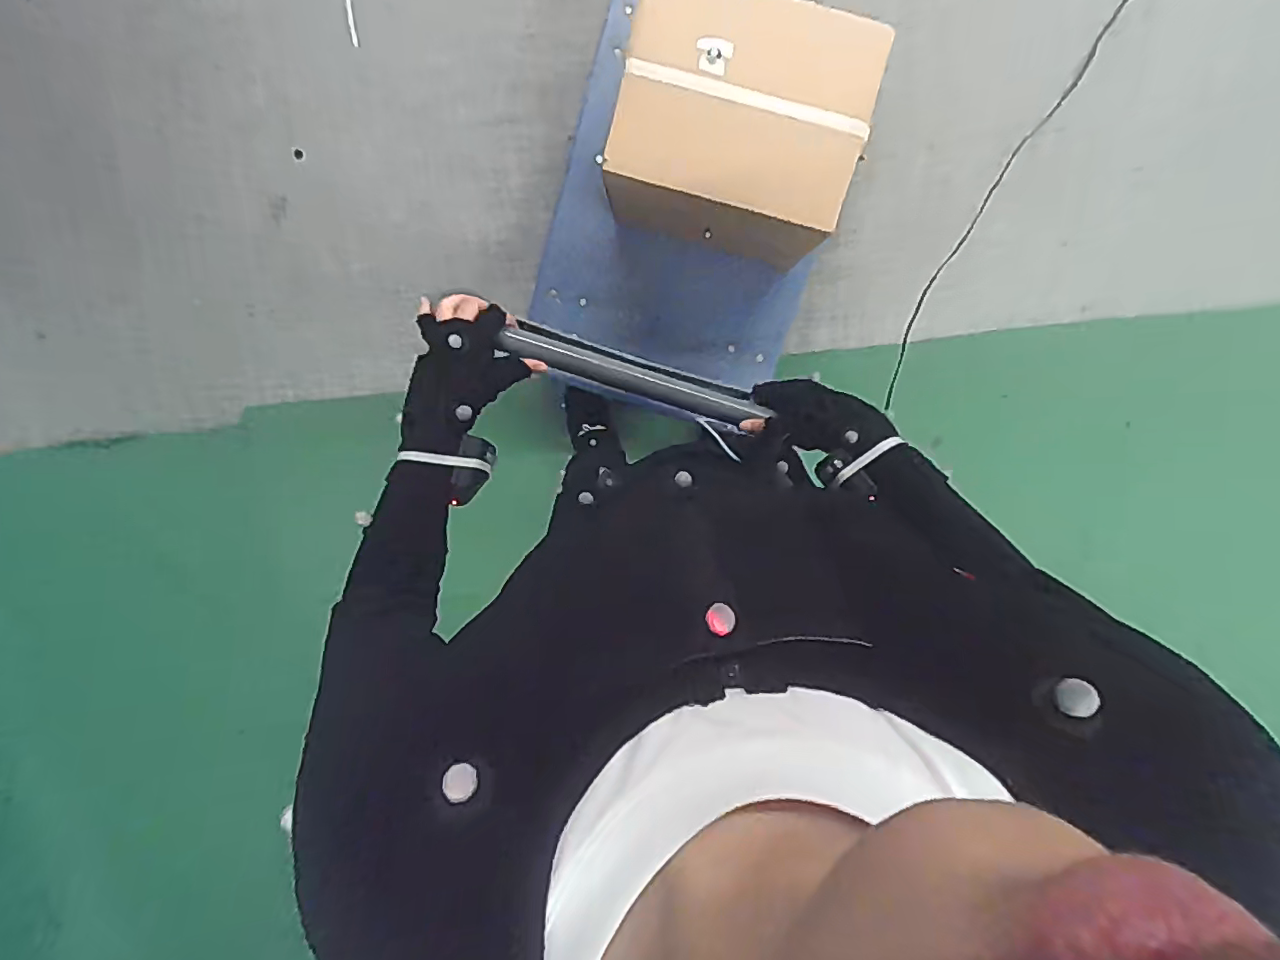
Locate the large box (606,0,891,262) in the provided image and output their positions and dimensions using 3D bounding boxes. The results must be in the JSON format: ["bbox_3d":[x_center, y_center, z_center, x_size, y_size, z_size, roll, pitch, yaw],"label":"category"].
[{"bbox_3d":[0.178,-0.638,1.020,0.408,0.320,0.320,14,100,0],"label":"large box"}]
